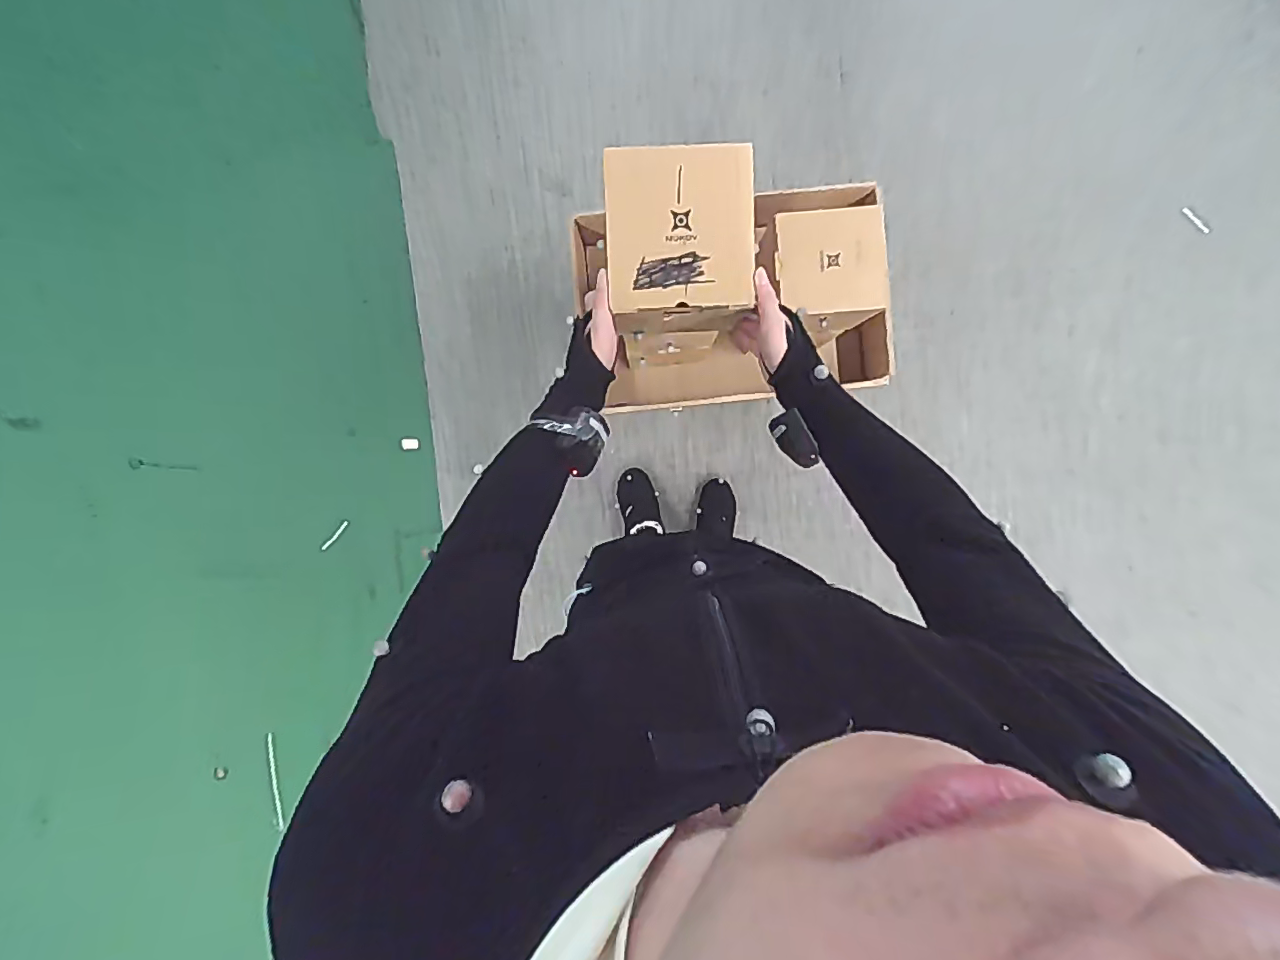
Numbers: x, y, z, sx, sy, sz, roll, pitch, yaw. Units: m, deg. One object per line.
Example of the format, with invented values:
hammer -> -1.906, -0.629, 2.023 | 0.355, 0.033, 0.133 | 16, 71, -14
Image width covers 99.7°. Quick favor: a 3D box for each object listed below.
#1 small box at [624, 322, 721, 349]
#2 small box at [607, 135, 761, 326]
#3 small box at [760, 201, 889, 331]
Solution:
small box -> 0.049, -0.338, 0.945 | 0.168, 0.176, 0.179 | -5, 93, 2
small box -> 0.048, -0.288, 0.662 | 0.168, 0.176, 0.179 | -2, 96, -1
small box -> 0.310, -0.362, 0.942 | 0.179, 0.176, 0.168 | -4, 94, 0
